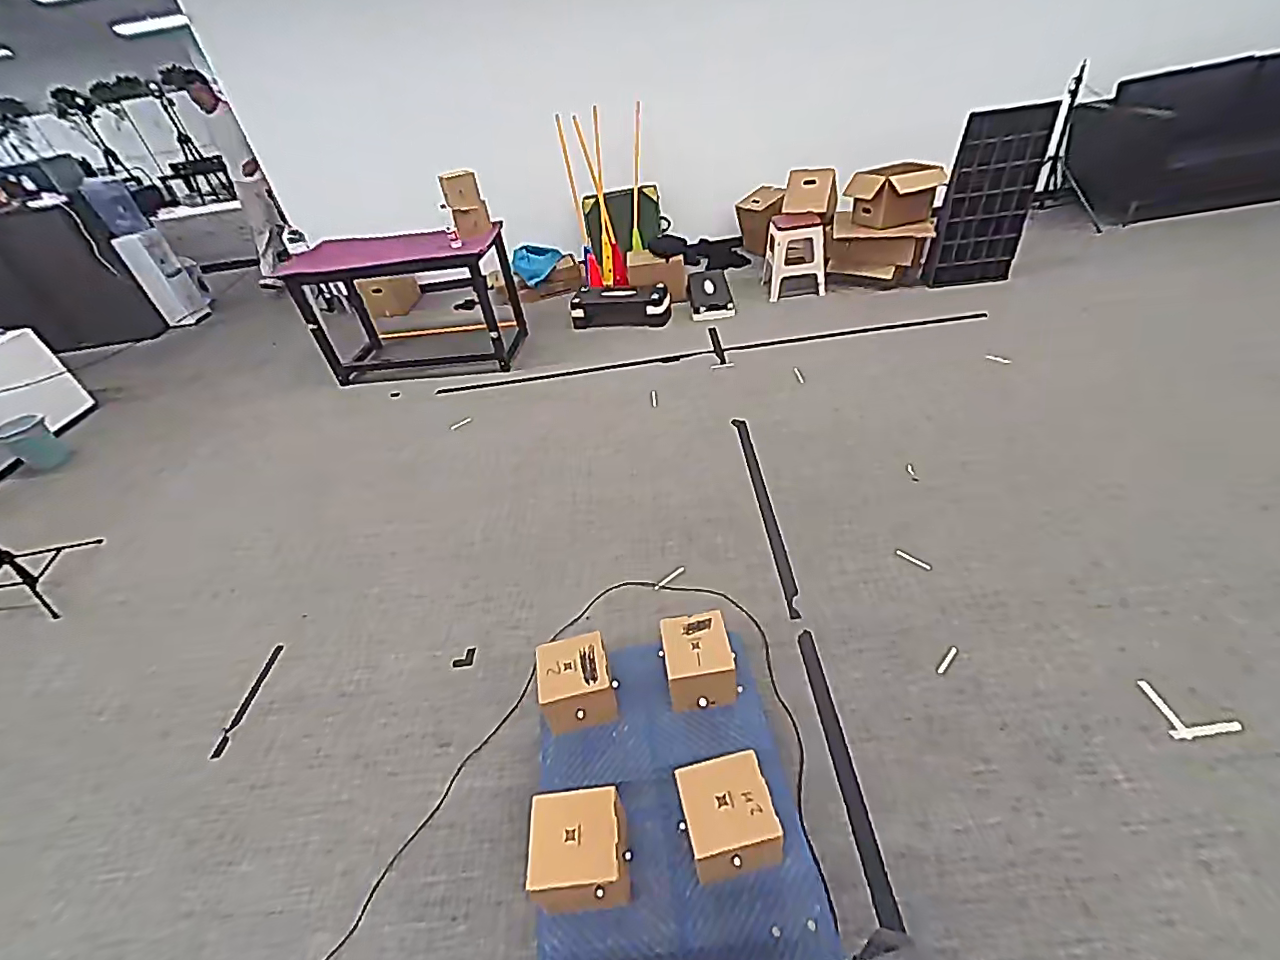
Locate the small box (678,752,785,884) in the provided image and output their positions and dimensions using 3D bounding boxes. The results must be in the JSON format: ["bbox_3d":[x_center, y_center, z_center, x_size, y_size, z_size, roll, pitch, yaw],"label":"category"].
[{"bbox_3d":[0.188,0.702,1.119,0.179,0.176,0.168,-13,39,-4],"label":"small box"}]

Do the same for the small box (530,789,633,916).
[{"bbox_3d":[-0.115,0.764,1.107,0.179,0.176,0.168,-8,39,0],"label":"small box"}]

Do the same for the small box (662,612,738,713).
[{"bbox_3d":[0.154,0.475,1.404,0.168,0.176,0.179,-10,40,0],"label":"small box"}]
